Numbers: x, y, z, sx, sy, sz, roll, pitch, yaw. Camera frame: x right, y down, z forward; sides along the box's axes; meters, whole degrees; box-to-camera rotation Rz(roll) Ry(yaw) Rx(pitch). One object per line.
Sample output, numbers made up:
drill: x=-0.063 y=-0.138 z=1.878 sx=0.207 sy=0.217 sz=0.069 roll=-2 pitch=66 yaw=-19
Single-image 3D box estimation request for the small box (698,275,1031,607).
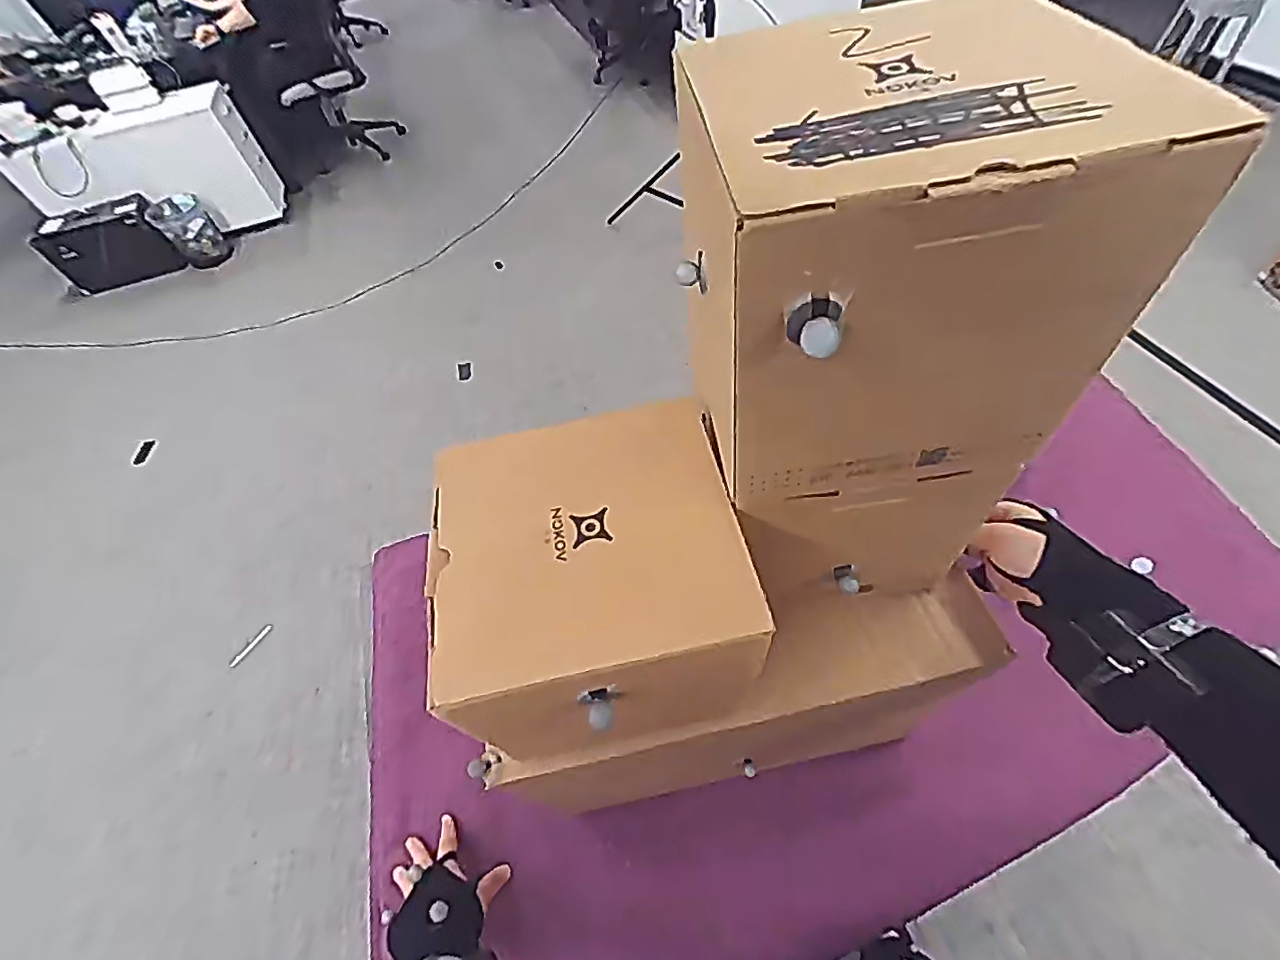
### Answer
small box: x=0.138 y=-0.024 z=0.414 sx=0.168 sy=0.176 sz=0.179 roll=-9 pitch=54 yaw=3
